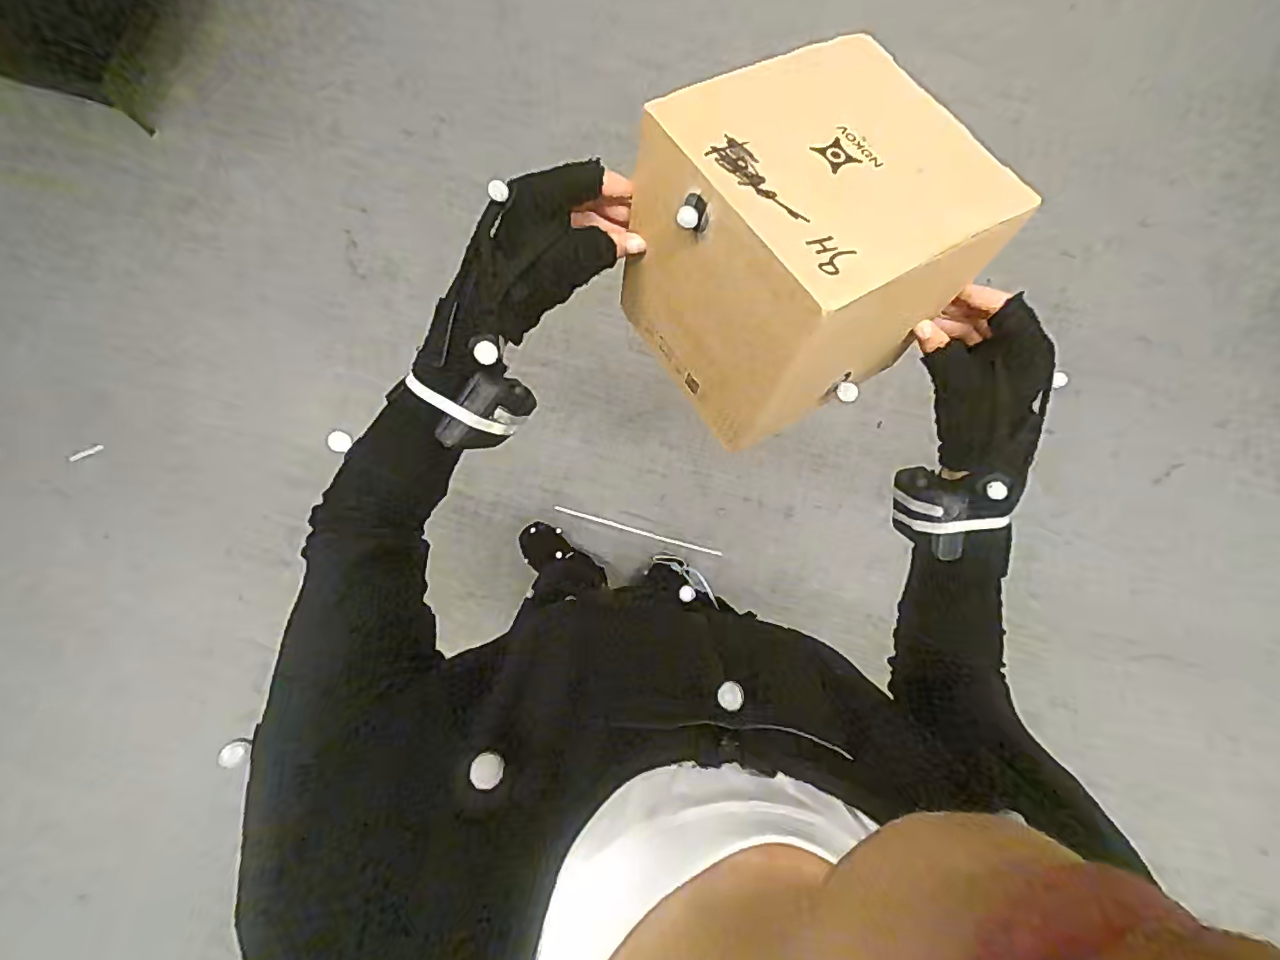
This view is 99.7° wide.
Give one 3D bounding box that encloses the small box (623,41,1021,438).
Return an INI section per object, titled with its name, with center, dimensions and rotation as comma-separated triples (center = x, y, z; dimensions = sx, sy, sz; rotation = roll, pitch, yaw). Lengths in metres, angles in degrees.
[small box]
center = 0.105, -0.161, 0.390
dimensions = 0.179, 0.176, 0.168
rotation = -29, 73, -19
